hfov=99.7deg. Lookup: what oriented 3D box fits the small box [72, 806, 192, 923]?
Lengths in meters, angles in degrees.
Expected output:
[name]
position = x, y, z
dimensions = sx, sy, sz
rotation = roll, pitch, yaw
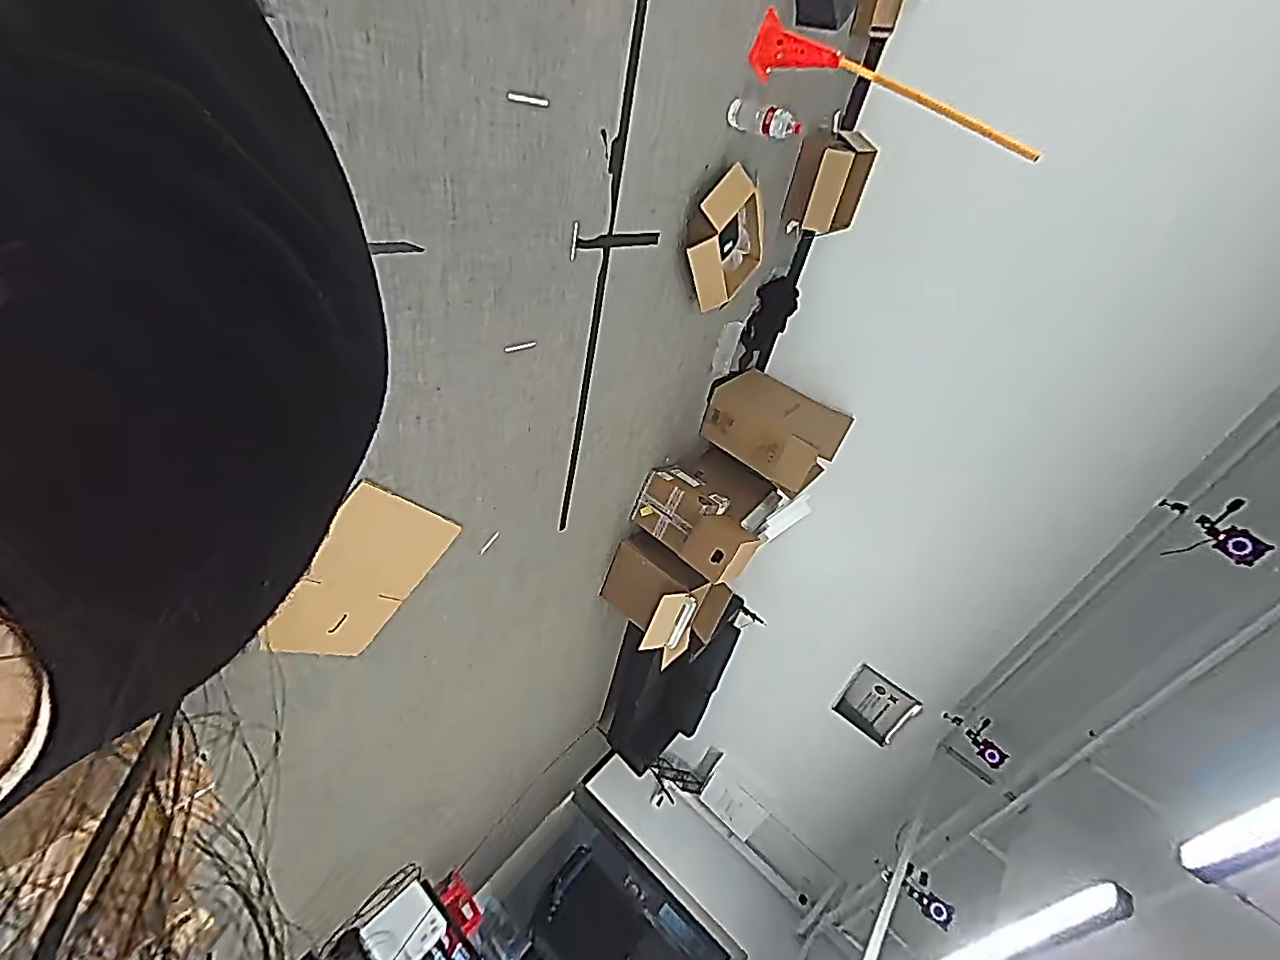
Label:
[small box]
position = -1.350, 1.013, 1.438
dimensions = 0.168, 0.176, 0.179
rotation = -31, 146, -41
